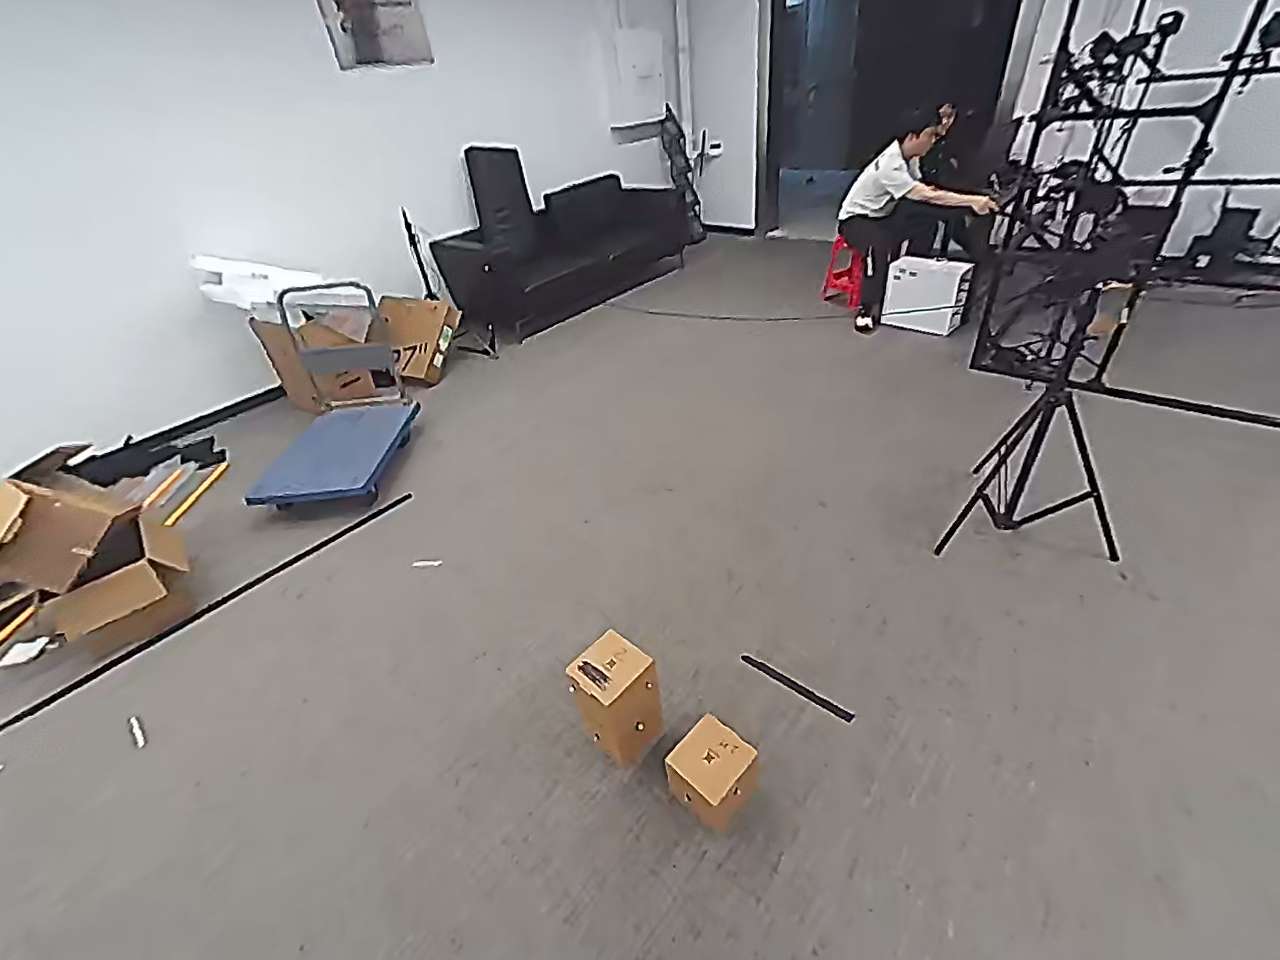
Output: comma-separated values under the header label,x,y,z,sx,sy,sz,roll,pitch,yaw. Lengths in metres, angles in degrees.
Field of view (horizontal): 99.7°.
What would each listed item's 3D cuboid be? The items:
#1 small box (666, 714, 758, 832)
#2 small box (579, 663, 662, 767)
label,x,y,z,sx,sy,sz,roll,pitch,yaw
small box,0.189,0.755,1.390,0.168,0.176,0.179,28,48,37
small box,-0.050,0.673,1.552,0.168,0.176,0.179,26,48,38
